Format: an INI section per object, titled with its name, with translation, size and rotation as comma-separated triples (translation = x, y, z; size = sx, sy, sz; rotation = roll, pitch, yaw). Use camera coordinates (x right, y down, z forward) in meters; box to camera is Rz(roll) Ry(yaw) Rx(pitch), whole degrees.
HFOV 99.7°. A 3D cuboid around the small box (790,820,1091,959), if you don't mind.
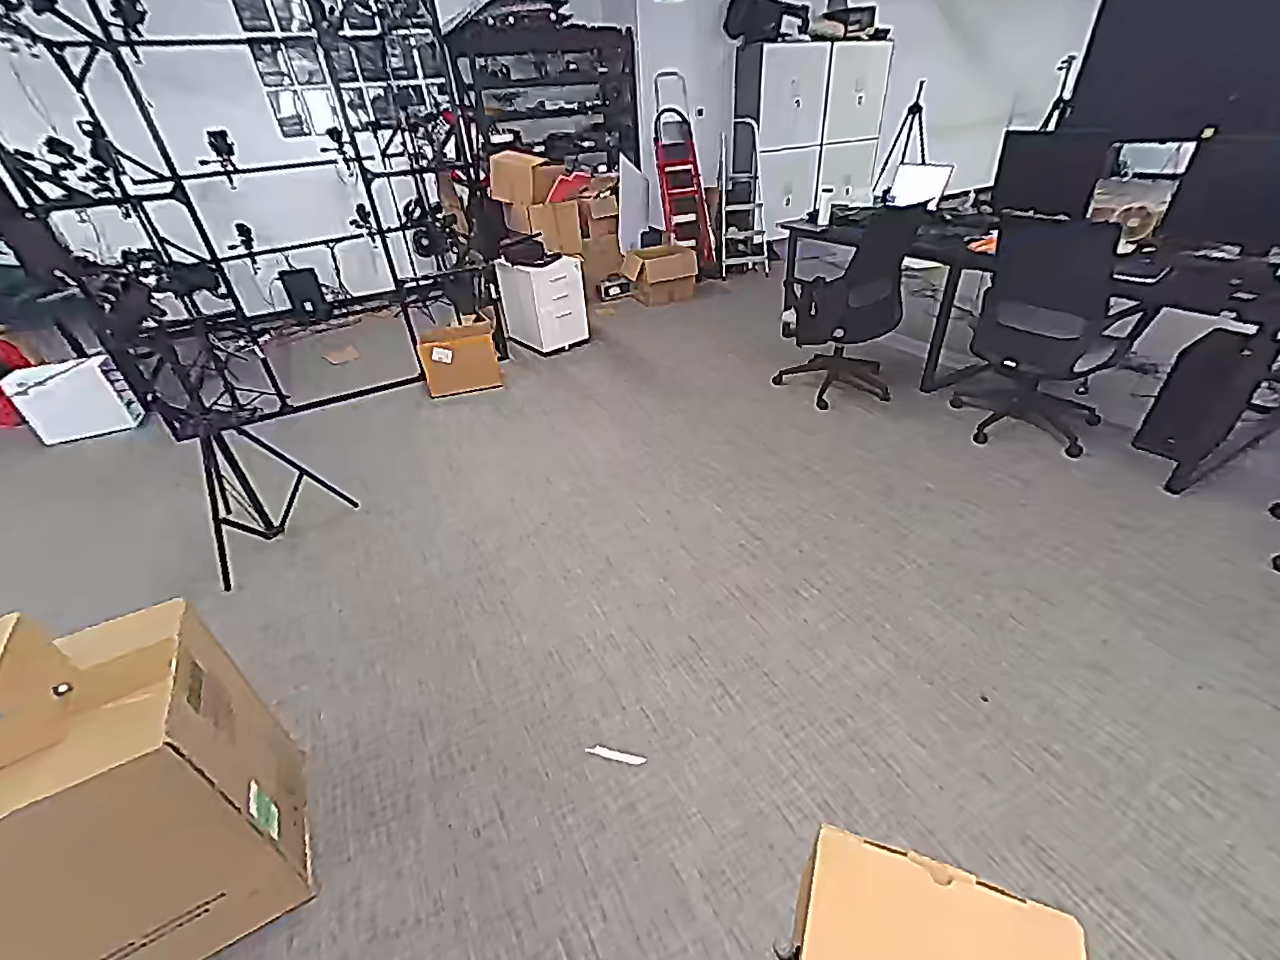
[small box]
translation = 0.188, 0.381, 0.373
size = 0.168, 0.176, 0.179
rotation = 10, 47, 21
